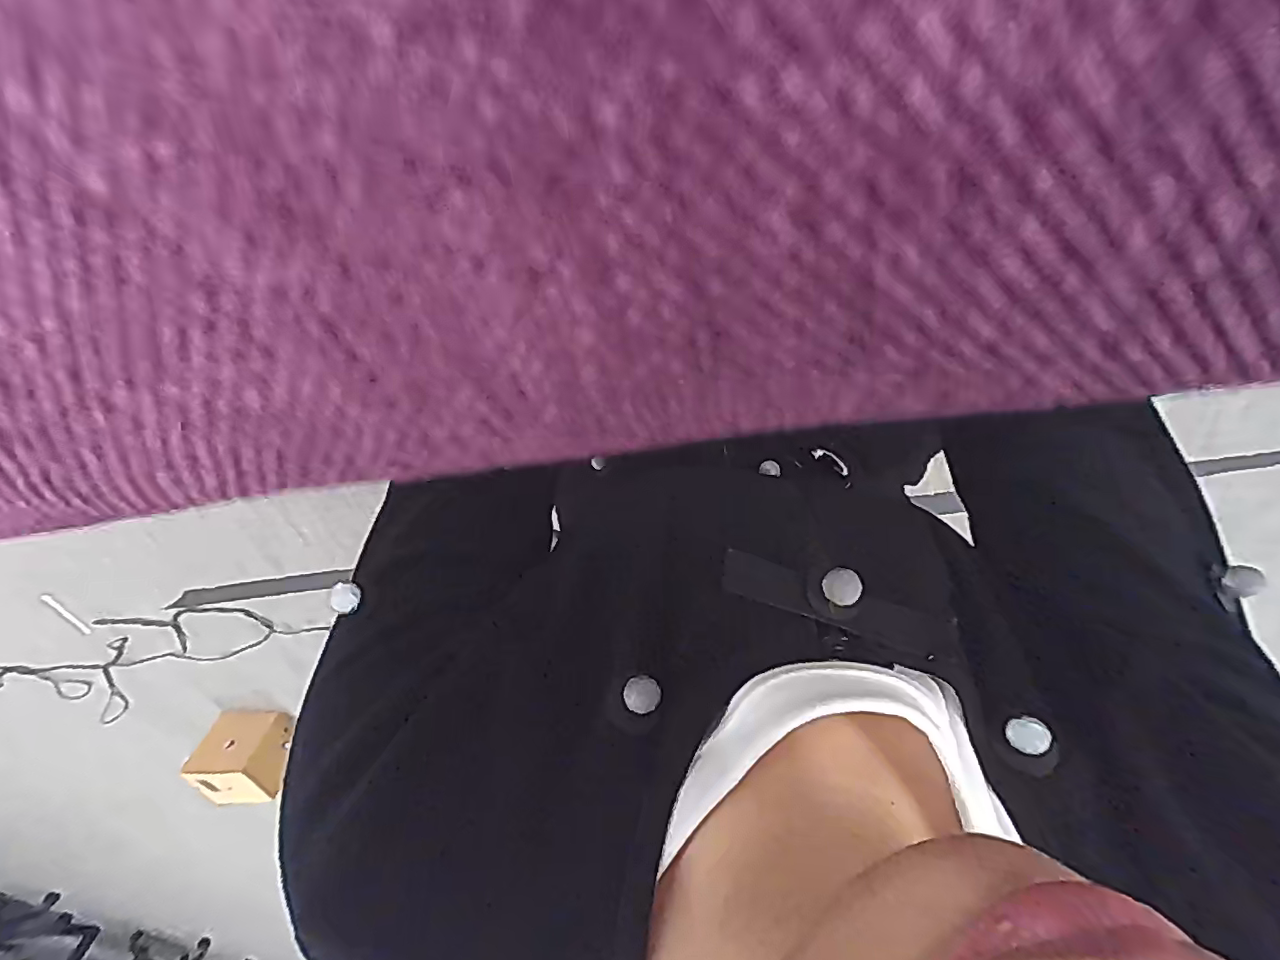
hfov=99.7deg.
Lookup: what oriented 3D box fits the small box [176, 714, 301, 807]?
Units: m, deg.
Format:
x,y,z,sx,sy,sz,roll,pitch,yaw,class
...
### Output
x,y,z,sx,sy,sz,roll,pitch,yaw,class
-1.067,0.750,1.453,0.179,0.176,0.168,-4,126,6,small box
